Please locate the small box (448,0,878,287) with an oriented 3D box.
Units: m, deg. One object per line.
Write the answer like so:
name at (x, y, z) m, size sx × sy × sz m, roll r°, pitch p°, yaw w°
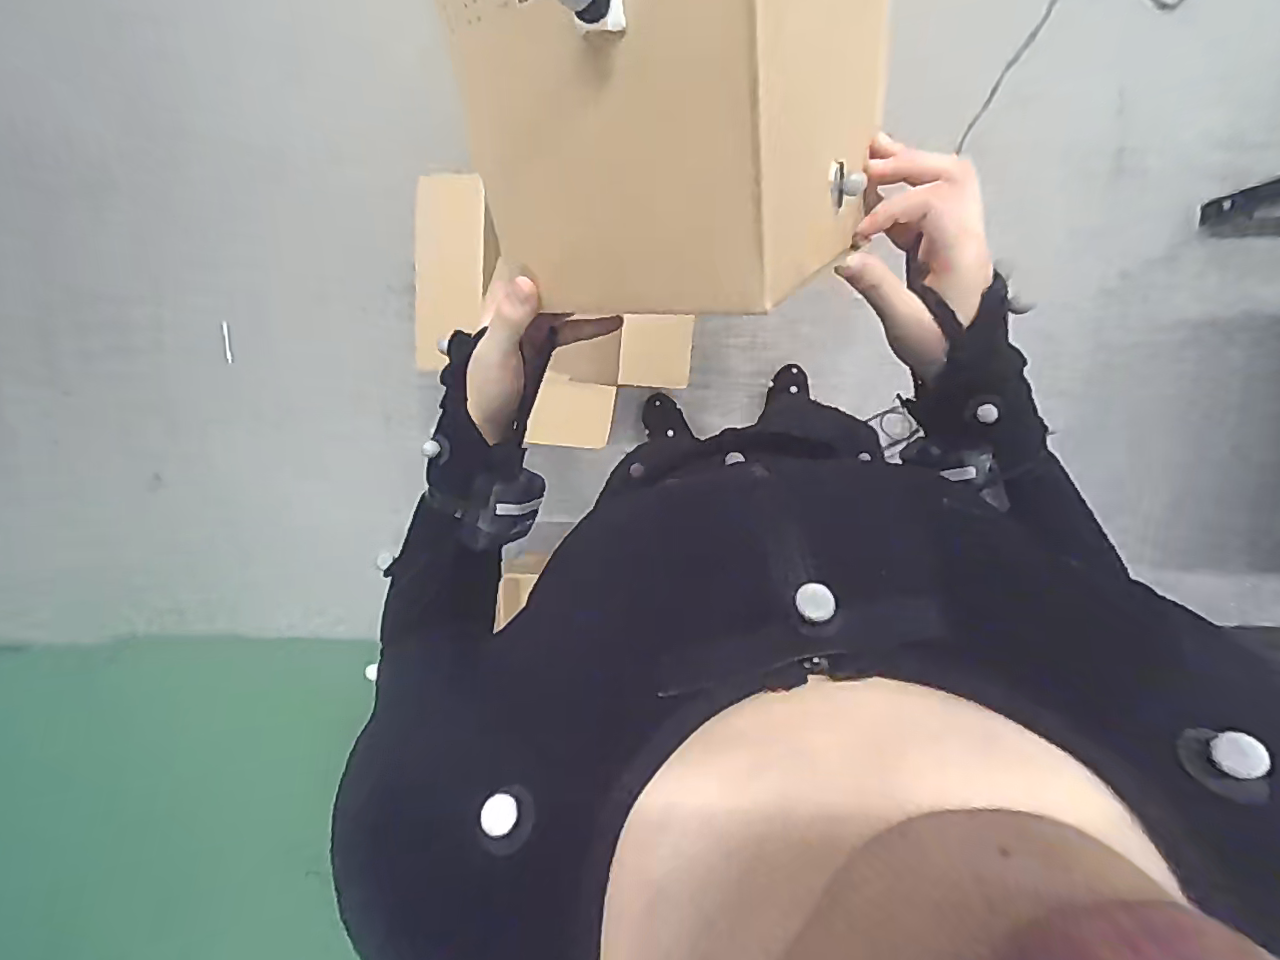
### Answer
small box at (0.025, -0.214, 0.300) m, size 0.168 × 0.179 × 0.176 m, roll 12°, pitch 126°, yaw 35°
